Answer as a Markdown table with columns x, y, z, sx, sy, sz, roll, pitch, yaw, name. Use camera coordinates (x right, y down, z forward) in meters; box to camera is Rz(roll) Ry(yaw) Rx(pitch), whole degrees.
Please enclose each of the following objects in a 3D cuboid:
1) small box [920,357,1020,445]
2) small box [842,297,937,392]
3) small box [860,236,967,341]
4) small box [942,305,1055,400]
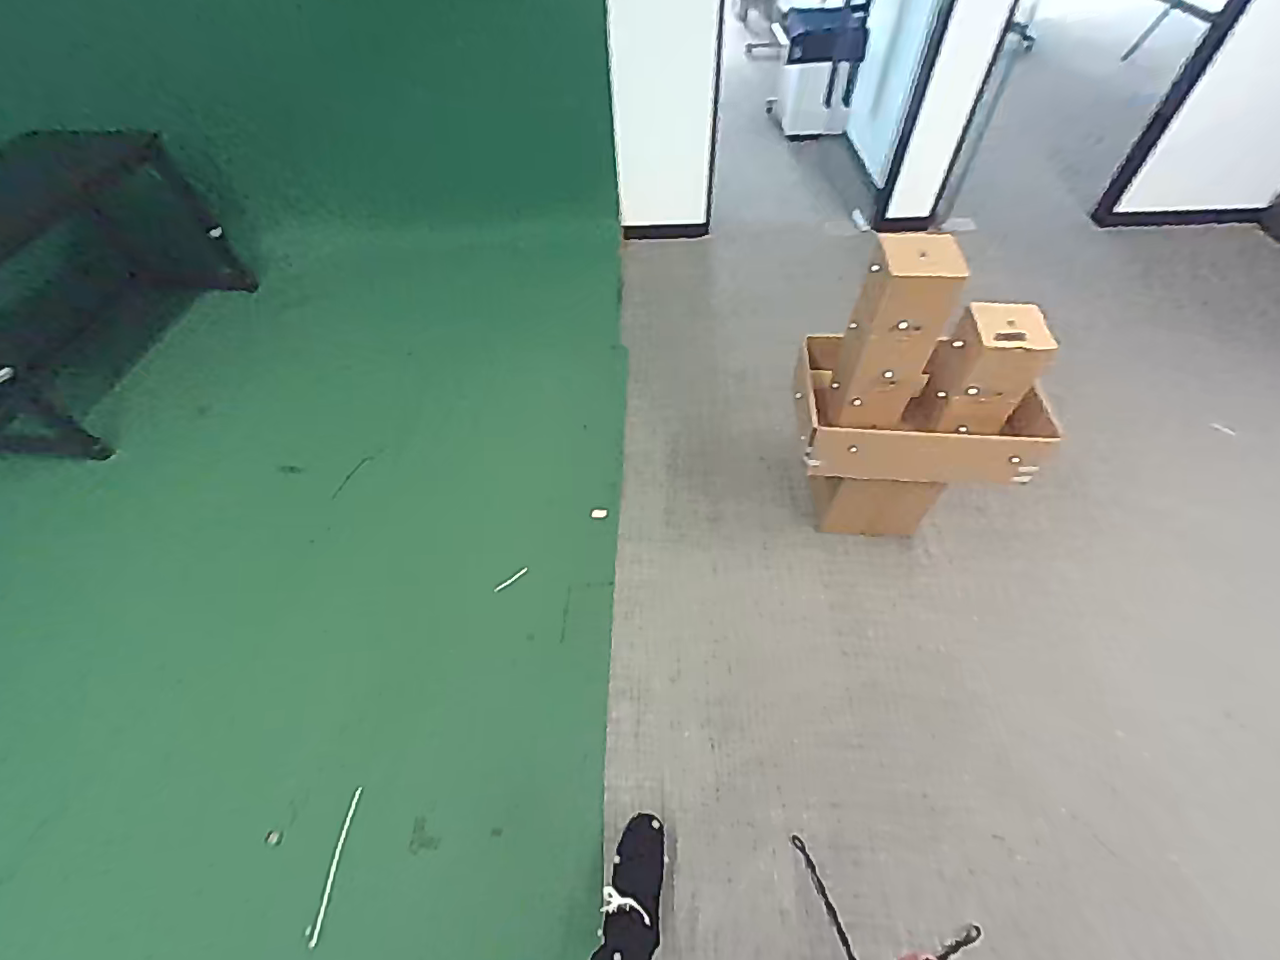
| x | y | z | sx | sy | sz | roll | pitch | yaw | name |
| --- | --- | --- | --- | --- | --- | --- | --- | --- | --- |
| 0.905 | -0.220 | 1.505 | 0.168 | 0.176 | 0.179 | 4 | 53 | 6 | small box |
| 0.638 | -0.353 | 1.409 | 0.168 | 0.176 | 0.179 | 3 | 52 | 5 | small box |
| 0.634 | -0.452 | 1.280 | 0.168 | 0.176 | 0.179 | 3 | 52 | 6 | small box |
| 0.900 | -0.321 | 1.375 | 0.168 | 0.176 | 0.179 | 5 | 53 | 6 | small box |
